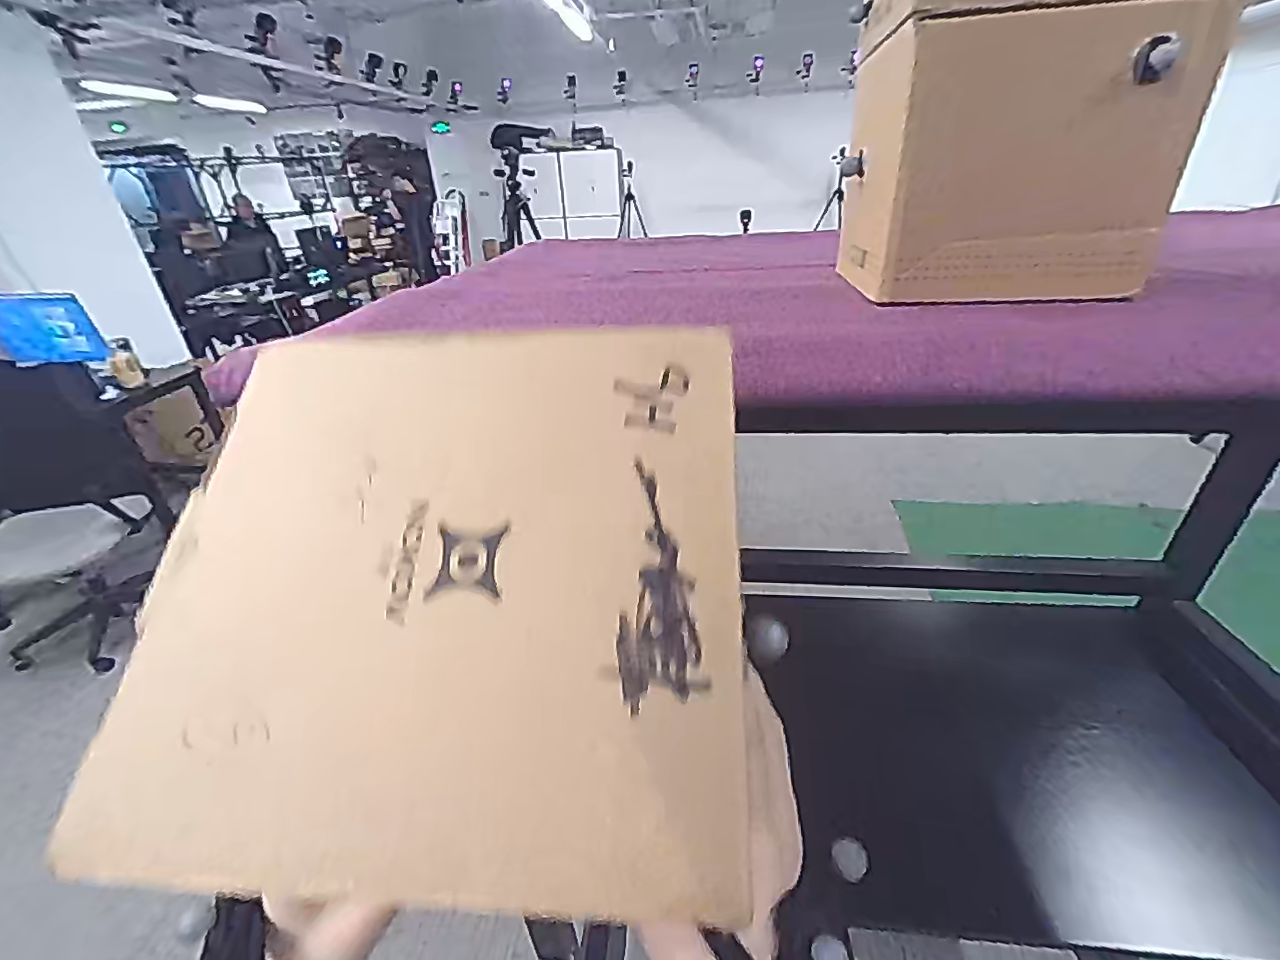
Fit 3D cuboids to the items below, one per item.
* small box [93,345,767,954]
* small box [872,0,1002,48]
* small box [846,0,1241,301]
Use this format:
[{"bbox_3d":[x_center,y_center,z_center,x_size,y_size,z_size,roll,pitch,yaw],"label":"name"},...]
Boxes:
[{"bbox_3d":[-0.045,0.062,0.234,0.179,0.176,0.168,0,68,6],"label":"small box"},{"bbox_3d":[0.256,-0.381,0.335,0.179,0.176,0.168,3,29,8],"label":"small box"},{"bbox_3d":[0.263,-0.235,0.410,0.179,0.176,0.168,2,29,8],"label":"small box"}]
